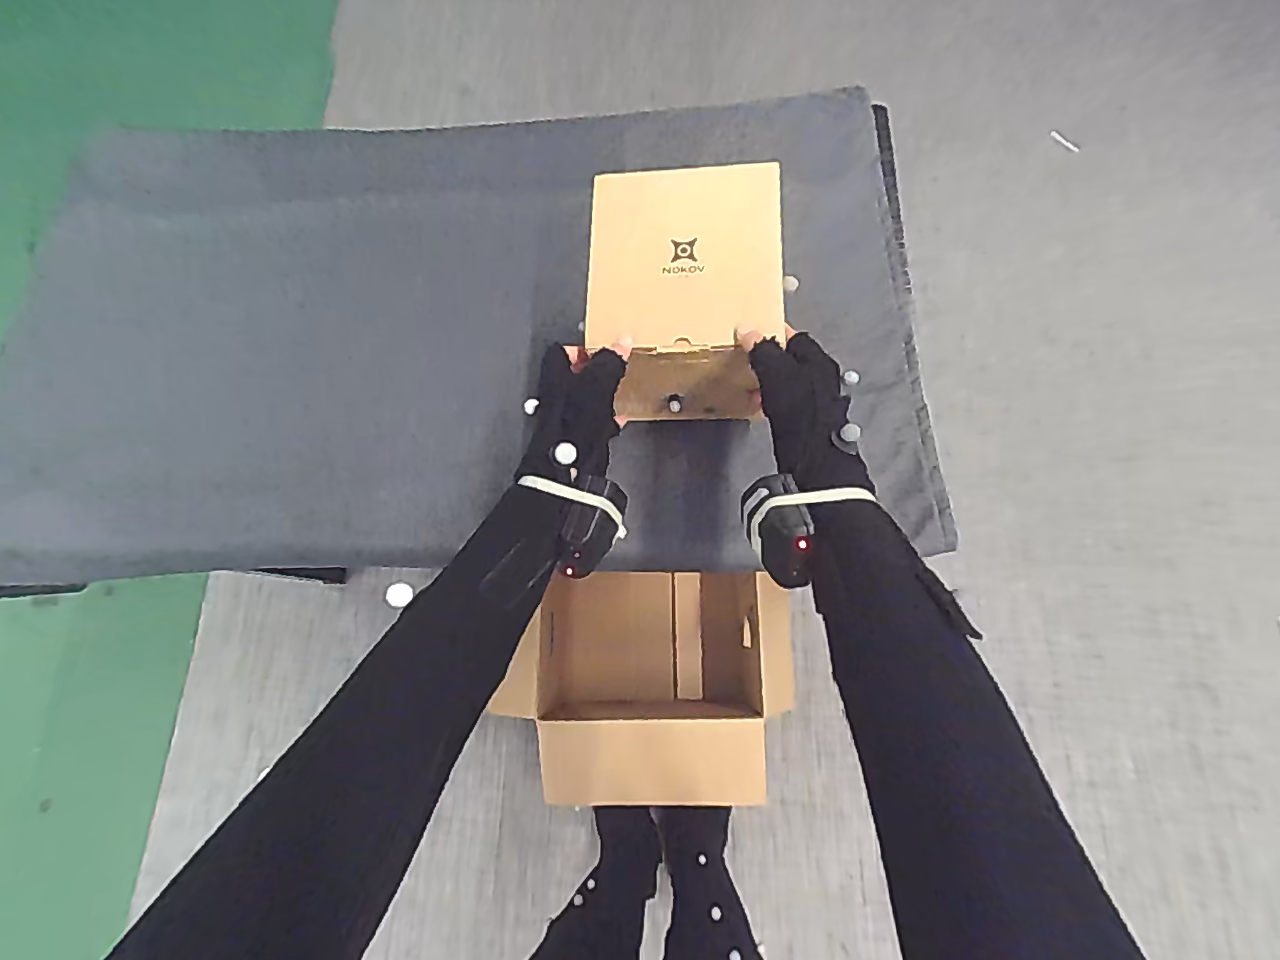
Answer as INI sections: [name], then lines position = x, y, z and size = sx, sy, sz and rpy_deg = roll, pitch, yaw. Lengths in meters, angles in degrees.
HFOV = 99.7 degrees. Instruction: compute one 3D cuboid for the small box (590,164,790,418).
[small box]
position = 0.051, -0.173, 0.536
size = 0.168, 0.176, 0.179
rpy_deg = 0, 77, 7
